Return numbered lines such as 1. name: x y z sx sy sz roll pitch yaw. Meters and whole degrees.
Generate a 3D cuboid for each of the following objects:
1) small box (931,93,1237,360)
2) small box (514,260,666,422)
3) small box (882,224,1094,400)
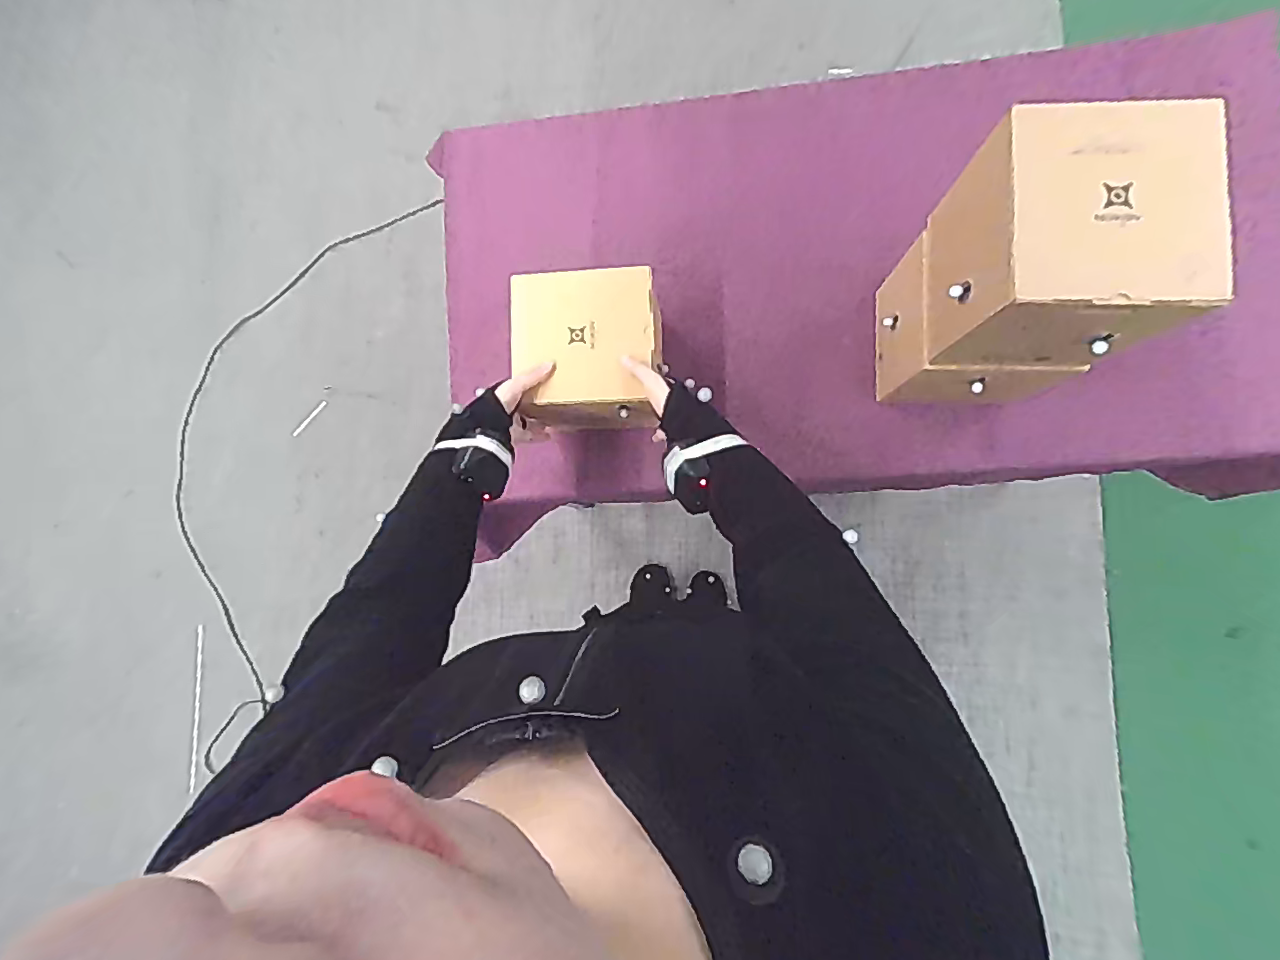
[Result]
1. small box: 0.398 -0.222 0.516 0.168 0.176 0.179 3 85 7
2. small box: -0.058 -0.176 0.733 0.179 0.176 0.168 -1 85 6
3. small box: 0.416 -0.199 0.676 0.179 0.176 0.168 3 86 7
